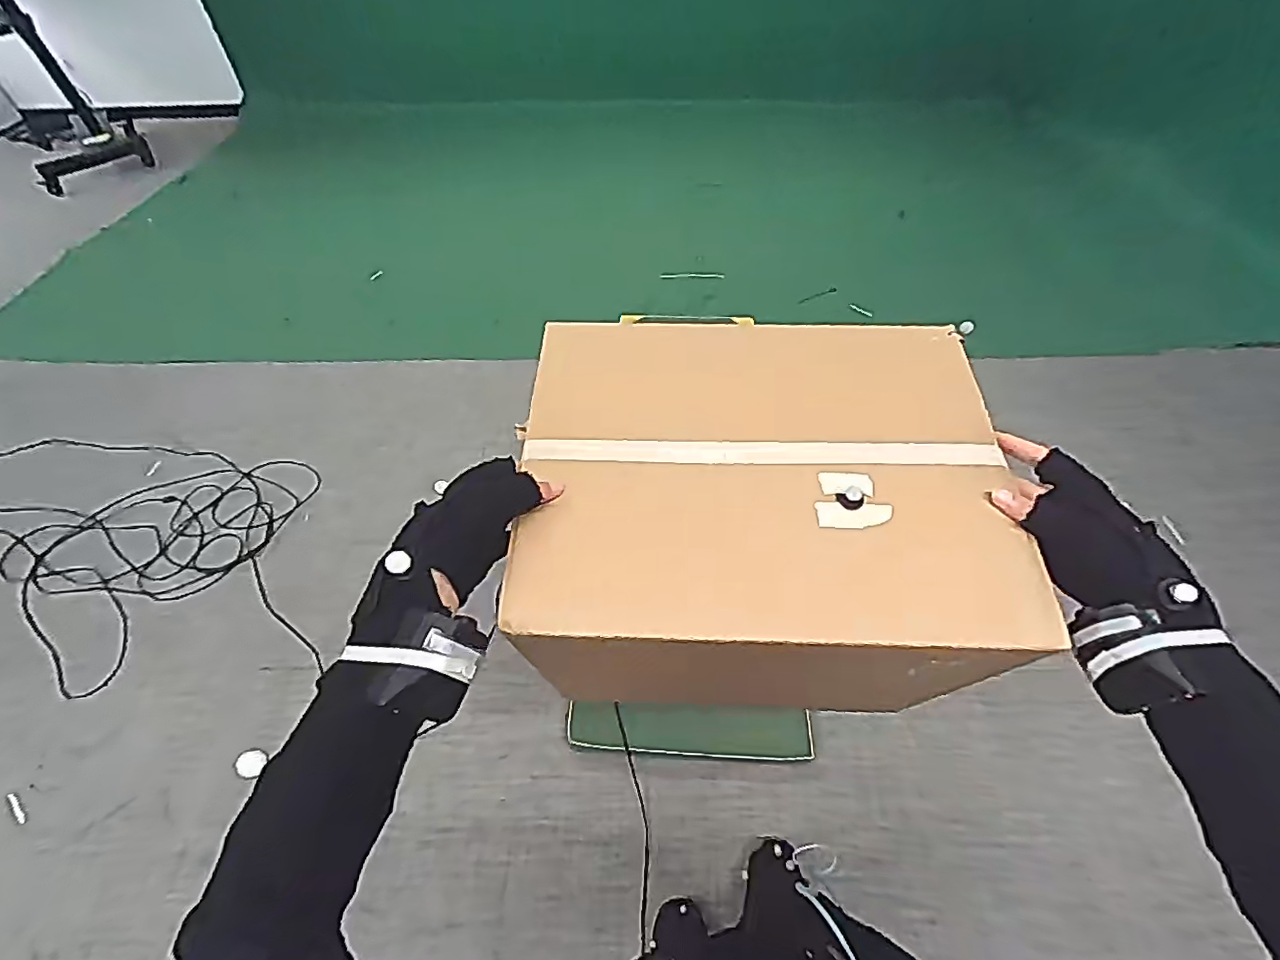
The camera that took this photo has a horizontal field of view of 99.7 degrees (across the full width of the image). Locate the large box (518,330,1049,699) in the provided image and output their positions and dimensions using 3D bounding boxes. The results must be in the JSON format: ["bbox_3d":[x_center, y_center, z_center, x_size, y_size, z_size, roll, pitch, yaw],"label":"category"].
[{"bbox_3d":[0.106,0.055,0.602,0.408,0.320,0.320,1,60,1],"label":"large box"}]
